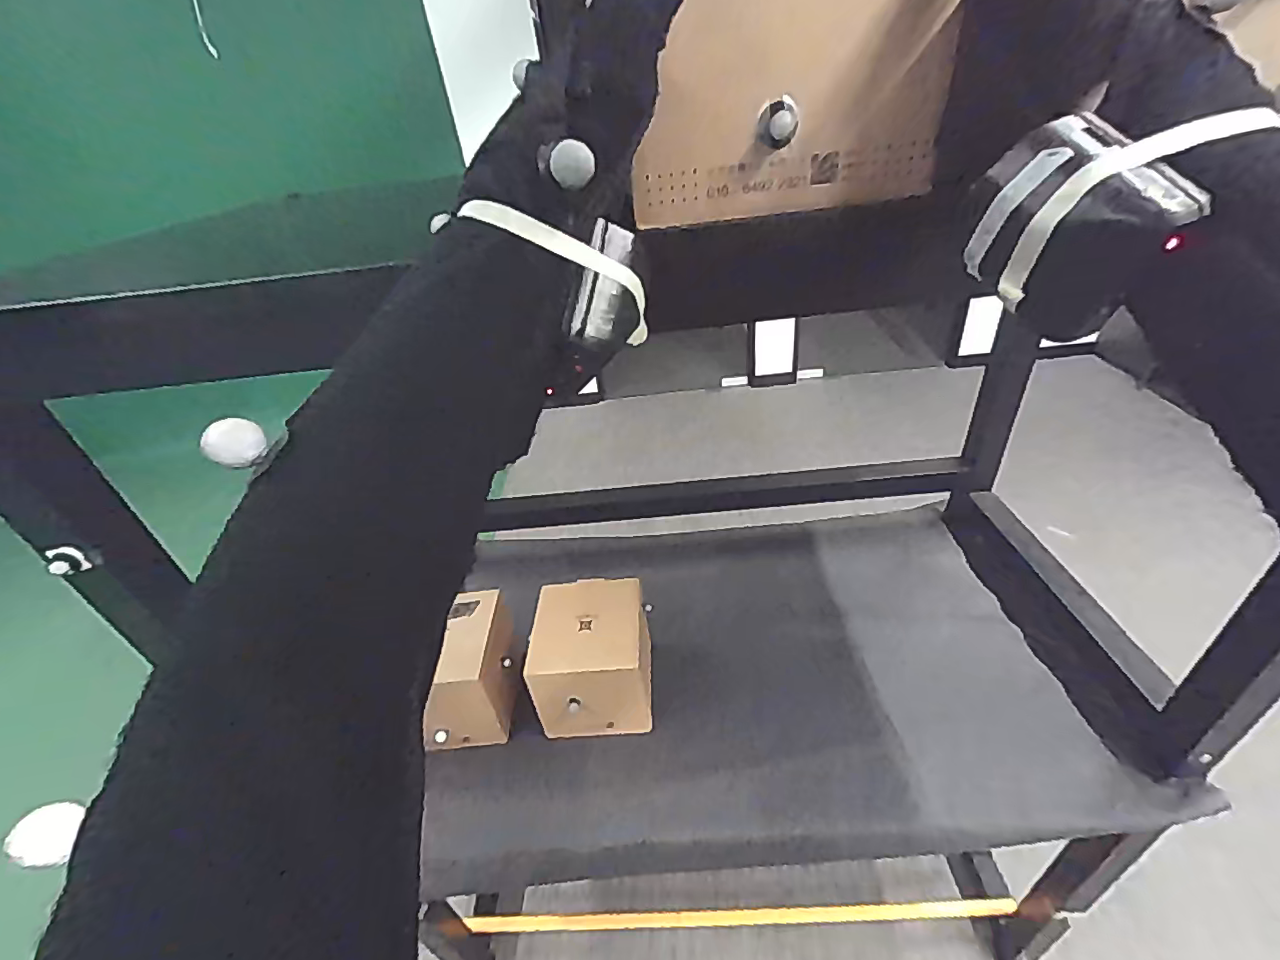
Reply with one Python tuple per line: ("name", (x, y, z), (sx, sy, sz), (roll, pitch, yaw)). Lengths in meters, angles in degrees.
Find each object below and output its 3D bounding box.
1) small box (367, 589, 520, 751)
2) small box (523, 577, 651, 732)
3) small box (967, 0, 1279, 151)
("small box", (-0.298, 0.303, 0.869), (0.168, 0.176, 0.179), (-7, 34, 2))
("small box", (-0.072, 0.281, 0.860), (0.168, 0.176, 0.179), (-5, 33, 4))
("small box", (0.336, -0.315, 0.341), (0.168, 0.176, 0.179), (0, 35, 11))
